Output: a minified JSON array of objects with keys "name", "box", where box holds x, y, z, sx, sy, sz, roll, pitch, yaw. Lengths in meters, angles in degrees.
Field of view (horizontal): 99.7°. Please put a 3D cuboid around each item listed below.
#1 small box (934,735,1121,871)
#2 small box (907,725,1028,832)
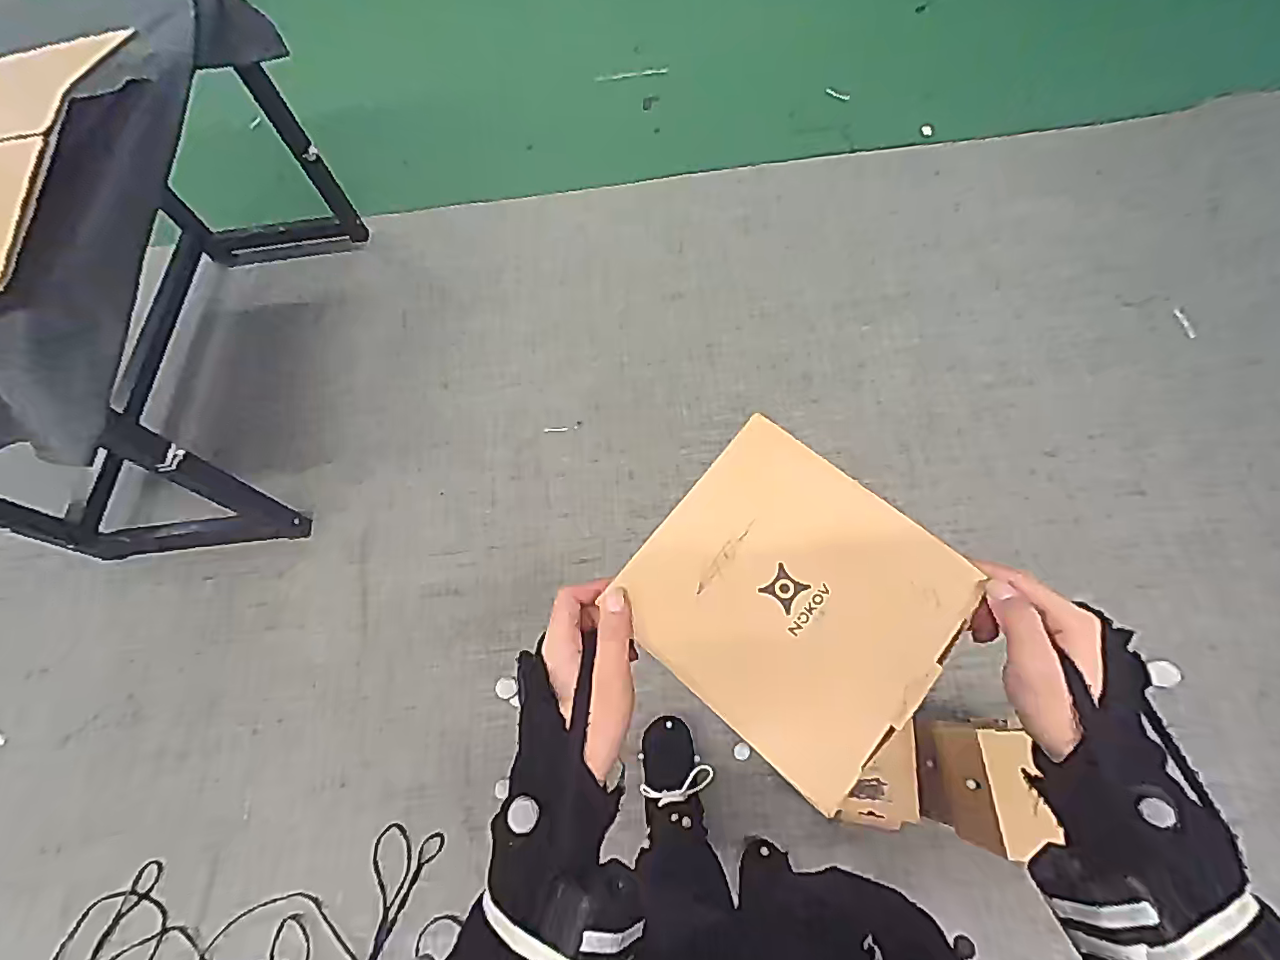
[{"name":"small box","box":[0.612,0.514,0.881,0.168,0.176,0.179,-3,64,4]},{"name":"small box","box":[0.636,0.570,1.033,0.168,0.176,0.179,-2,64,4]}]
